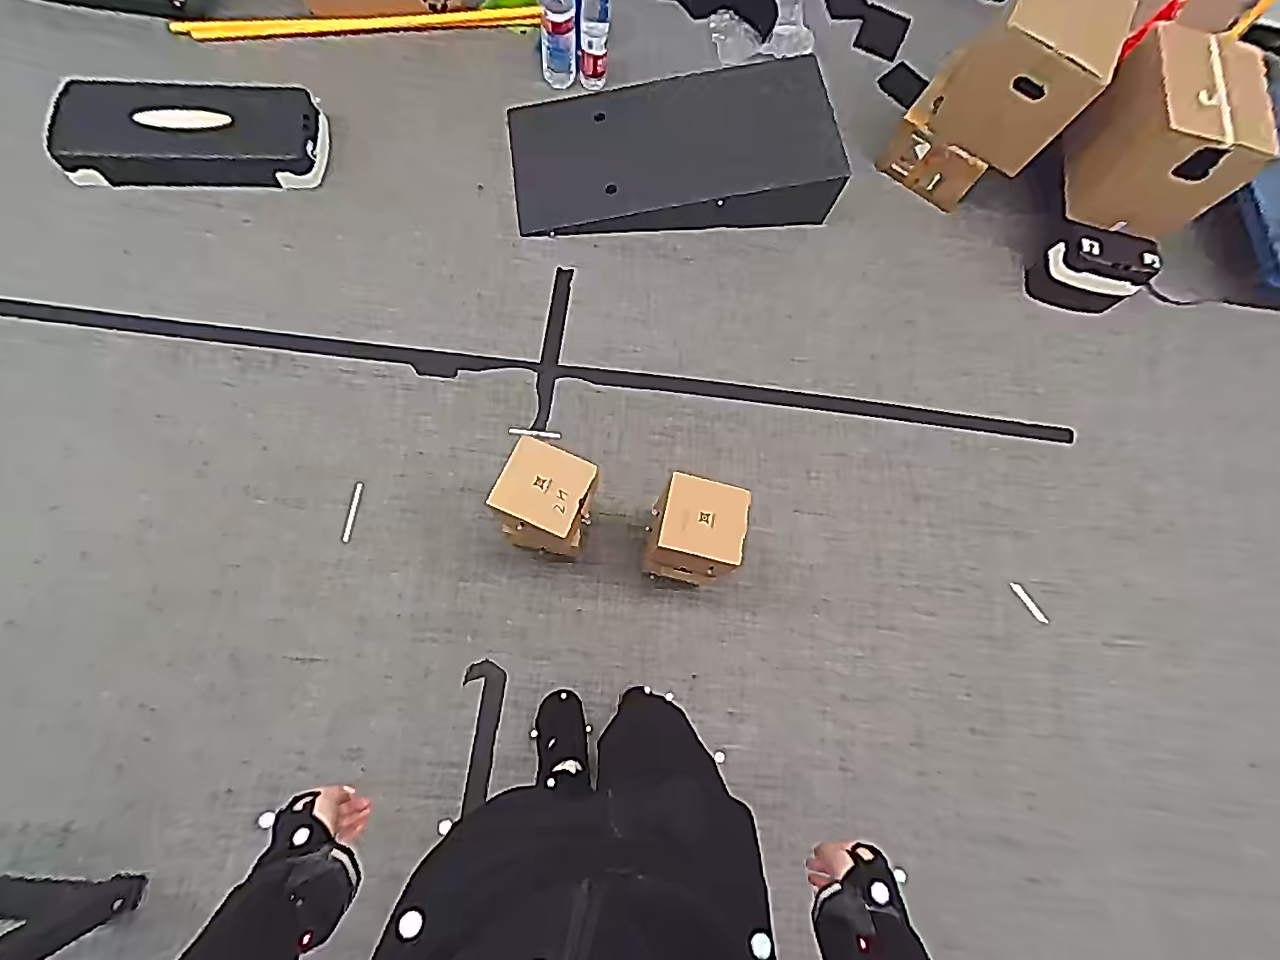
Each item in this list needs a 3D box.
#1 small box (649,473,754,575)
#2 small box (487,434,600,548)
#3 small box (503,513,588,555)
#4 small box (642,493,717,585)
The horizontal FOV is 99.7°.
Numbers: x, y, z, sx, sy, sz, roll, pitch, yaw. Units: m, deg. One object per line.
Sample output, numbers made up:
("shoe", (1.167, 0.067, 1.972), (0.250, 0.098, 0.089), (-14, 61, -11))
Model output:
("small box", (0.128, 0.104, 1.180), (0.179, 0.176, 0.168), (15, 71, -2))
("small box", (-0.199, 0.032, 1.157), (0.179, 0.176, 0.168), (25, 73, 1))
("small box", (-0.217, 0.081, 1.314), (0.179, 0.176, 0.168), (13, 73, -4))
("small box", (0.106, 0.153, 1.334), (0.168, 0.176, 0.179), (14, 72, -3))
